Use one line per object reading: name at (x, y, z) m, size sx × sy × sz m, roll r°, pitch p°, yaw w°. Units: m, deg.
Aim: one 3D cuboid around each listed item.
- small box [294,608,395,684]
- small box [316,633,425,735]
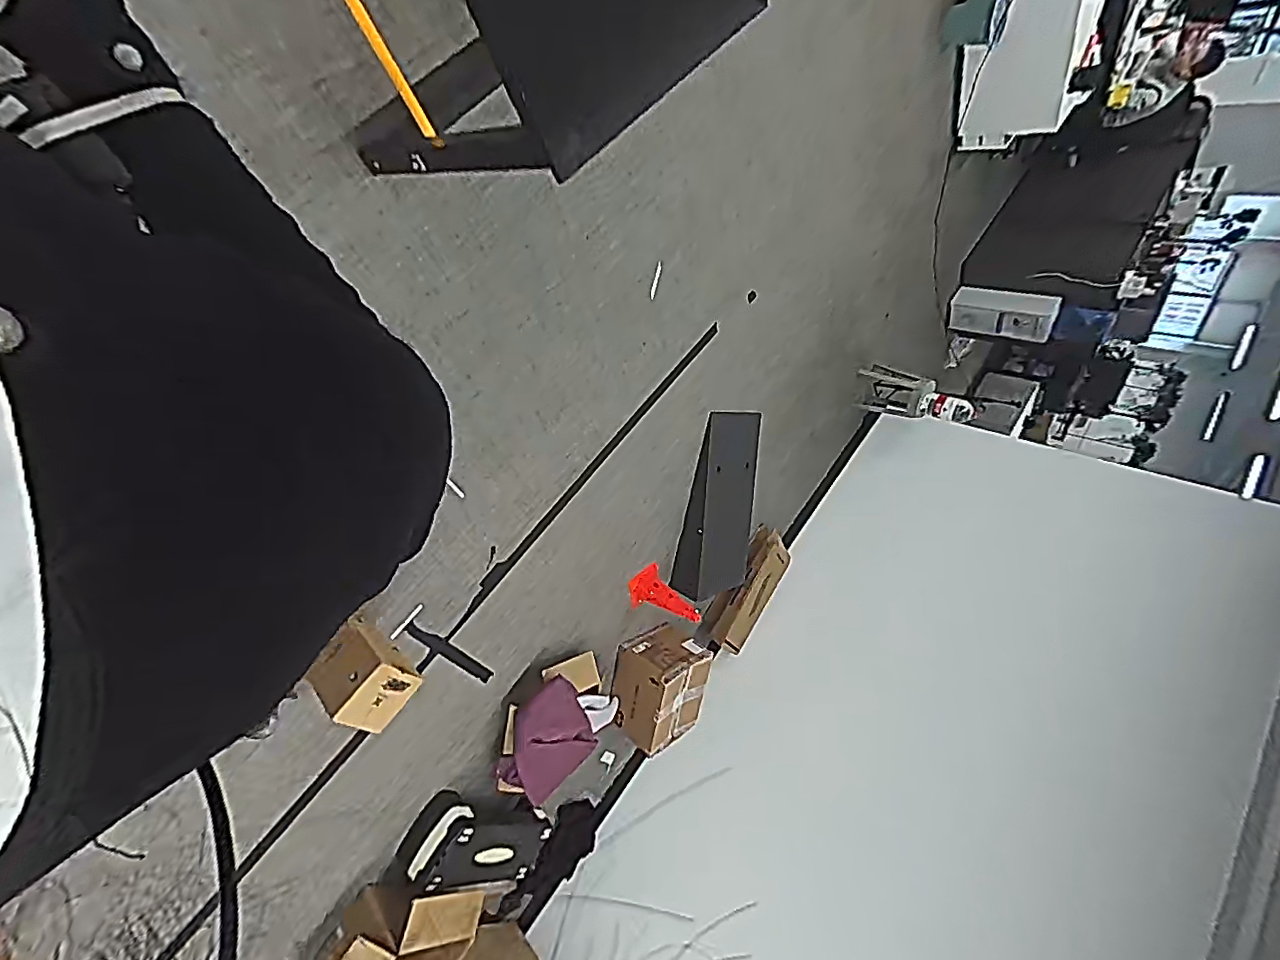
small box at (-0.855, 0.497, 1.566) m, size 0.168 × 0.176 × 0.179 m, roll -52°, pitch 140°, yaw -16°
small box at (-0.733, 0.547, 1.464) m, size 0.179 × 0.176 × 0.168 m, roll -51°, pitch 140°, yaw -16°
